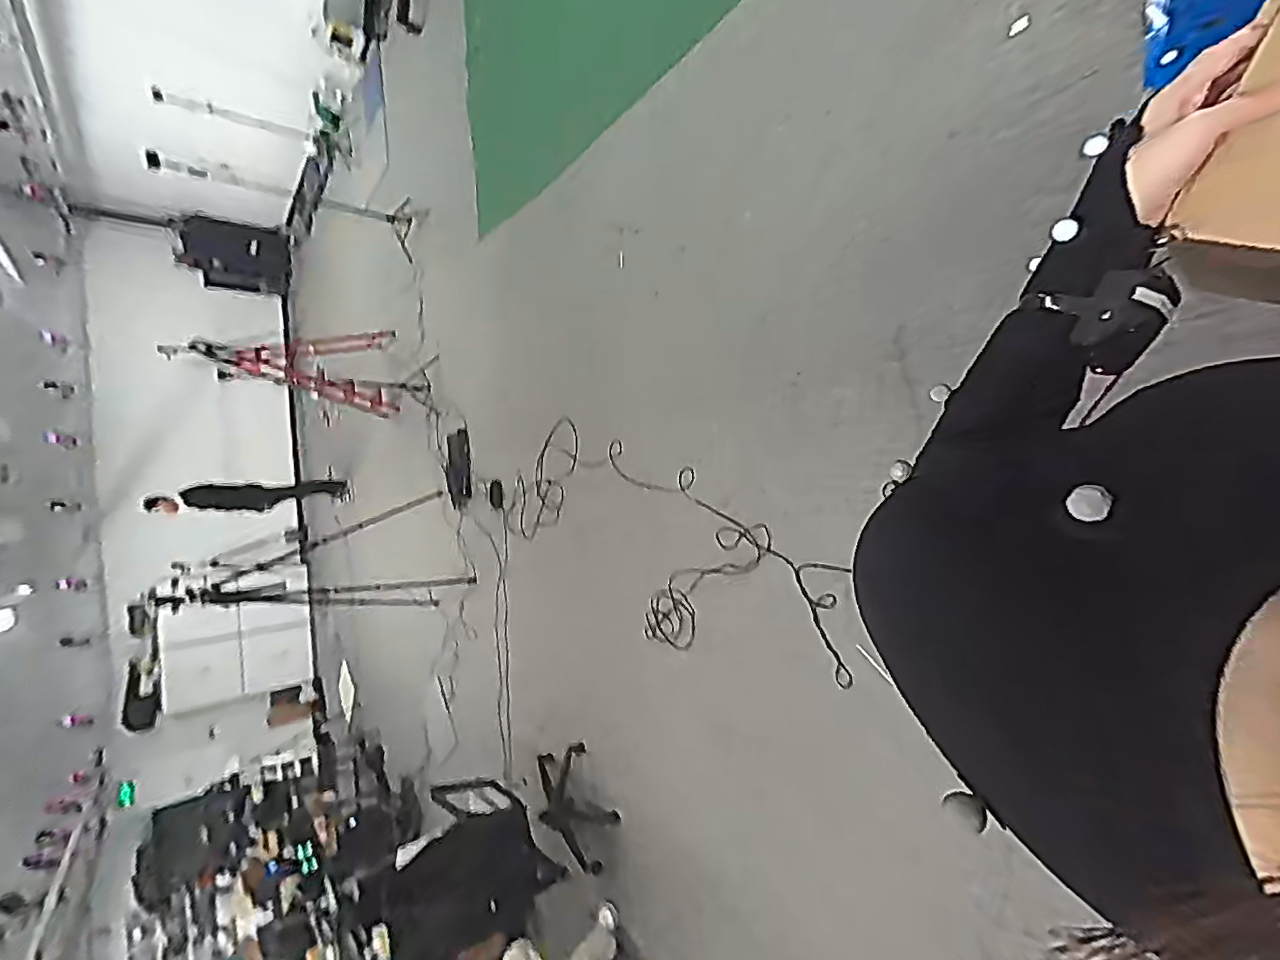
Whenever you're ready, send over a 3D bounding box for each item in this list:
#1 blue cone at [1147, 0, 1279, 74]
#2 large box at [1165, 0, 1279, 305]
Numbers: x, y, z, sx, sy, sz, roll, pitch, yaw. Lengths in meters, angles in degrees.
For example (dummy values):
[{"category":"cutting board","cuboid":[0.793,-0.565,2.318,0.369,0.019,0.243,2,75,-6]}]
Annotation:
[{"category":"blue cone","cuboid":[0.971,-0.894,0.920,0.193,0.380,0.192,8,98,49]},{"category":"large box","cuboid":[0.652,-0.258,0.325,0.408,0.320,0.320,31,119,39]}]
